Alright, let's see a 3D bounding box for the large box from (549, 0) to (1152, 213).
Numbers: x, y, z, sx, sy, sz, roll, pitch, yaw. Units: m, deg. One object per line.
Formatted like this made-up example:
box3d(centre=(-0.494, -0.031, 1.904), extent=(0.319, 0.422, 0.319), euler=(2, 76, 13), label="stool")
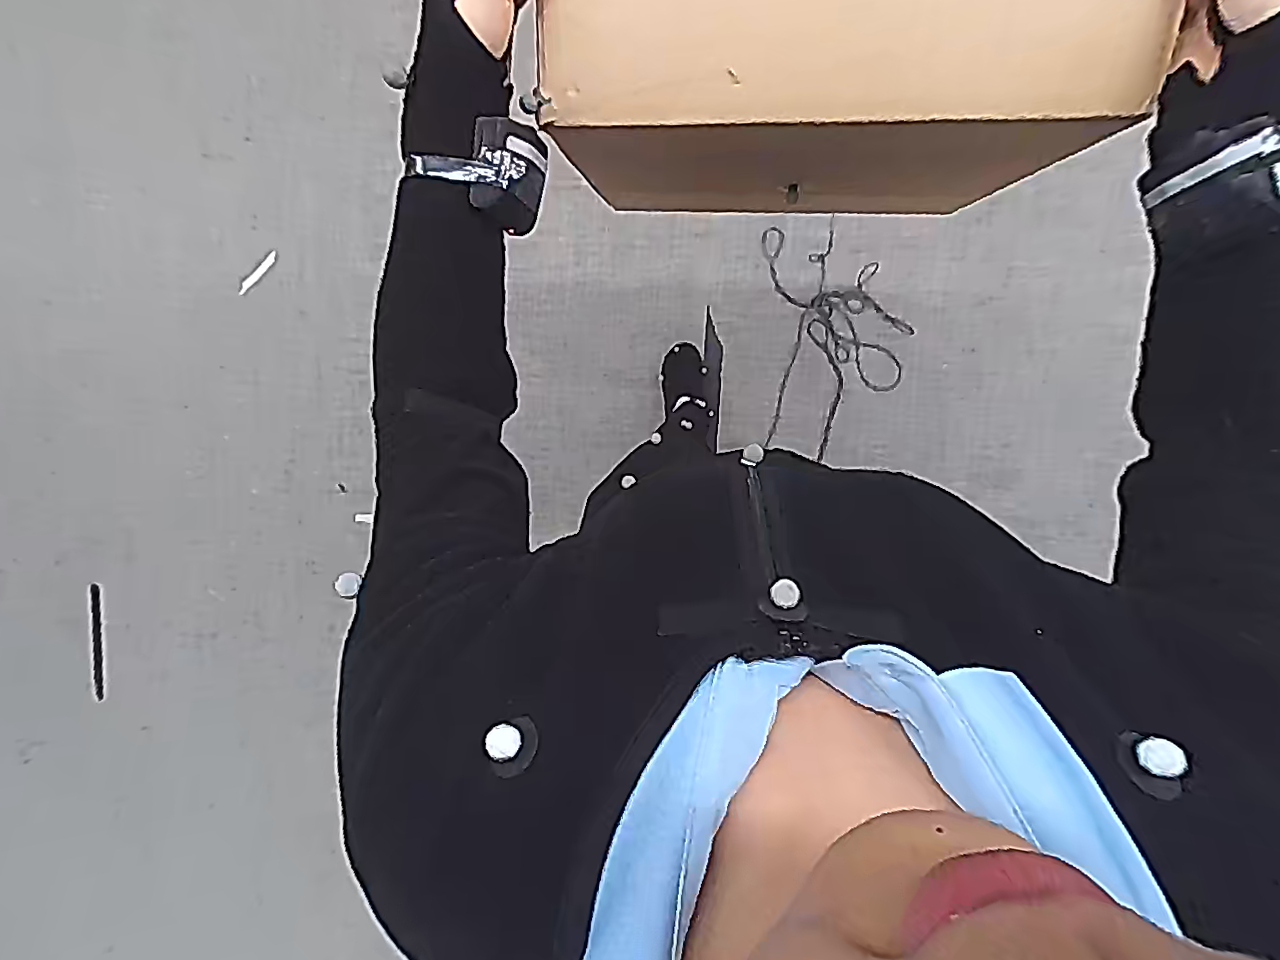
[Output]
box3d(centre=(0.152, -0.439, 0.486), extent=(0.408, 0.320, 0.320), euler=(3, 105, 7), label="large box")
